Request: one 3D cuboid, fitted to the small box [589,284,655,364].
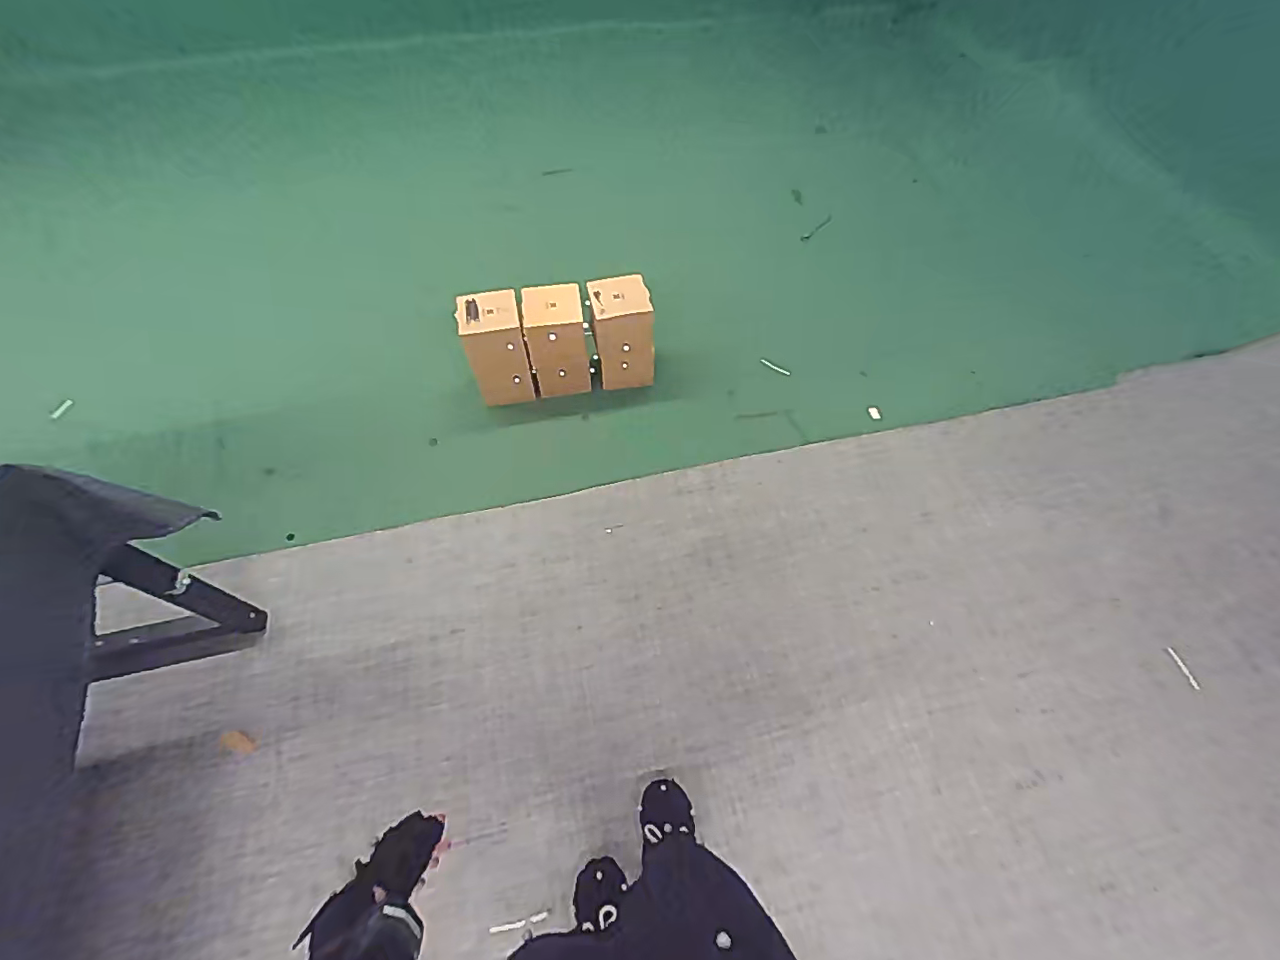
[{"bbox_3d":[-0.061,-0.487,1.701,0.179,0.176,0.168,-10,59,-8],"label":"small box"}]
